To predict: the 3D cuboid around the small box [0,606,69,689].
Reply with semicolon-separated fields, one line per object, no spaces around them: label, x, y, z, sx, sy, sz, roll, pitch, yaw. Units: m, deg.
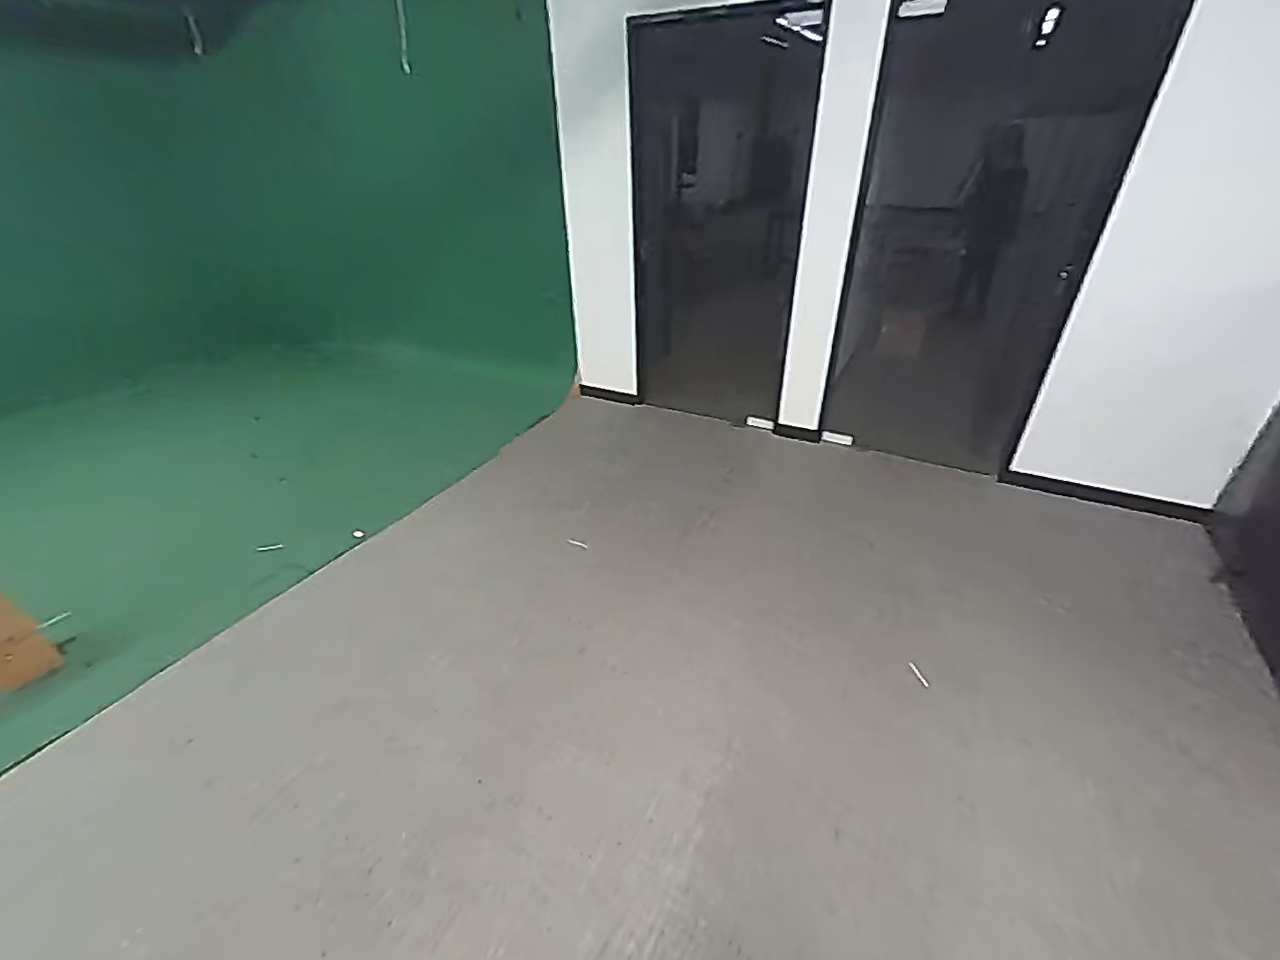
small box;-2.133;0.577;1.862;0.168;0.176;0.179;19;38;28
